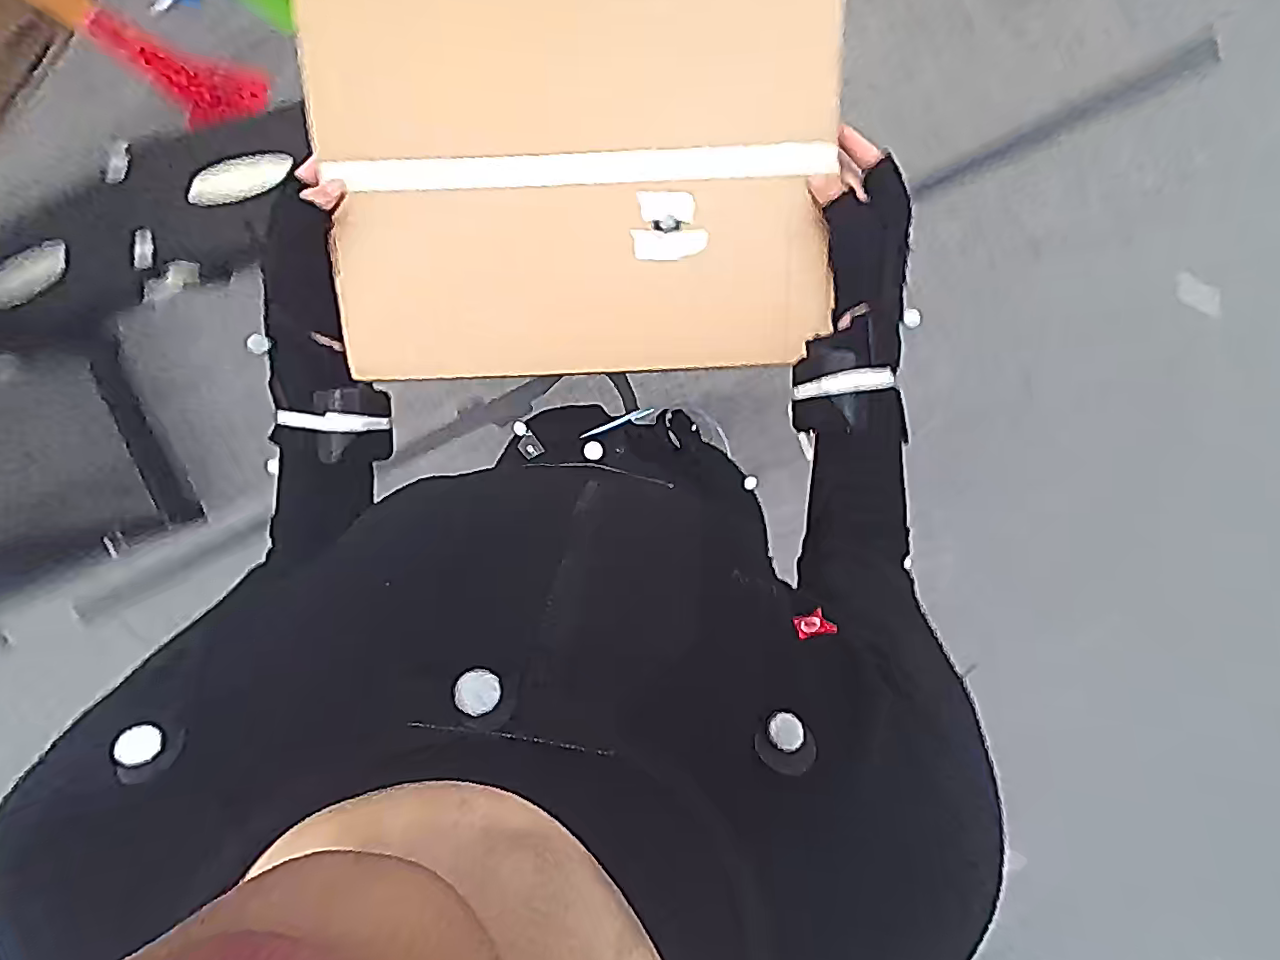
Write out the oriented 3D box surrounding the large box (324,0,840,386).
[{"bbox_3d":[-0.044,-0.271,0.587,0.408,0.320,0.320,-2,103,-2],"label":"large box"}]
